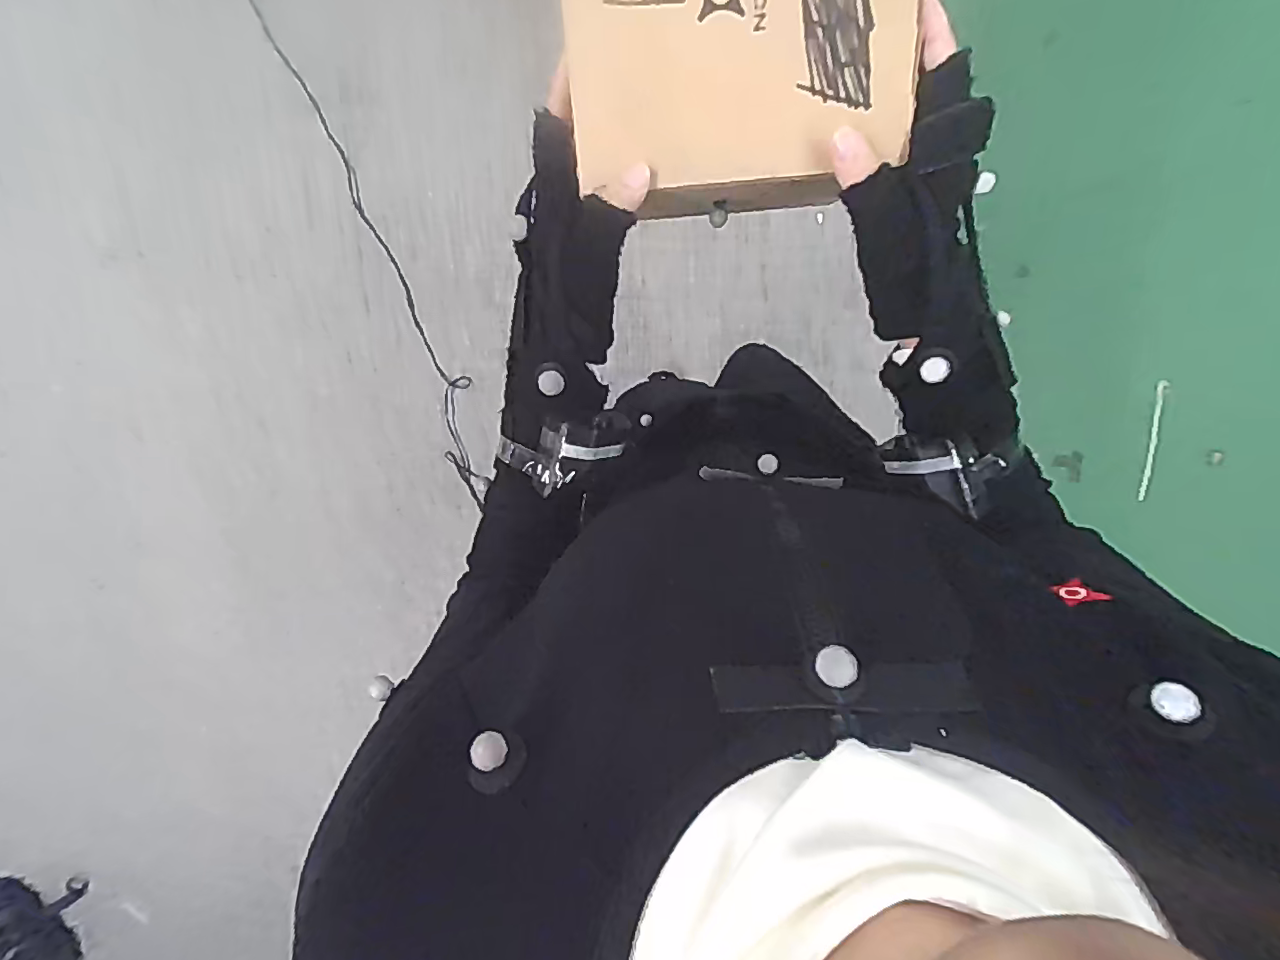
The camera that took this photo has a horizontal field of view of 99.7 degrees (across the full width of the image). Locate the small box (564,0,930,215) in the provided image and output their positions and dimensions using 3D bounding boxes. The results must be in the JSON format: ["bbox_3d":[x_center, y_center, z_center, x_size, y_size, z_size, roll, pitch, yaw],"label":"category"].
[{"bbox_3d":[0.053,-0.266,0.330,0.179,0.176,0.168,-5,112,6],"label":"small box"}]
